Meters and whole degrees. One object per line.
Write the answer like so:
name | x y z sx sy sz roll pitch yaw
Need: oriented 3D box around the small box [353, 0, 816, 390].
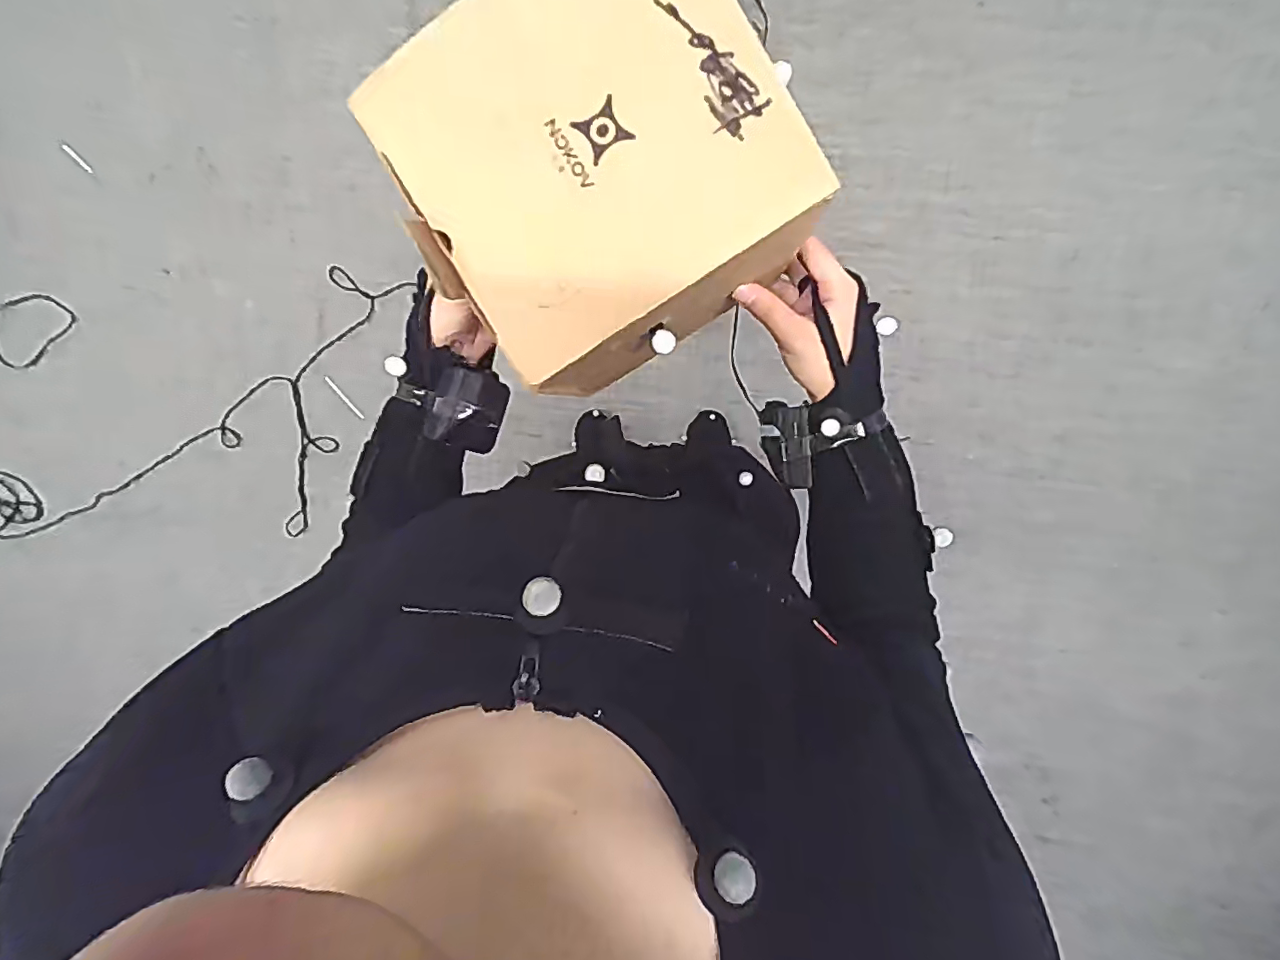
small box | -0.021 -0.167 0.336 0.179 0.176 0.168 -31 94 9
